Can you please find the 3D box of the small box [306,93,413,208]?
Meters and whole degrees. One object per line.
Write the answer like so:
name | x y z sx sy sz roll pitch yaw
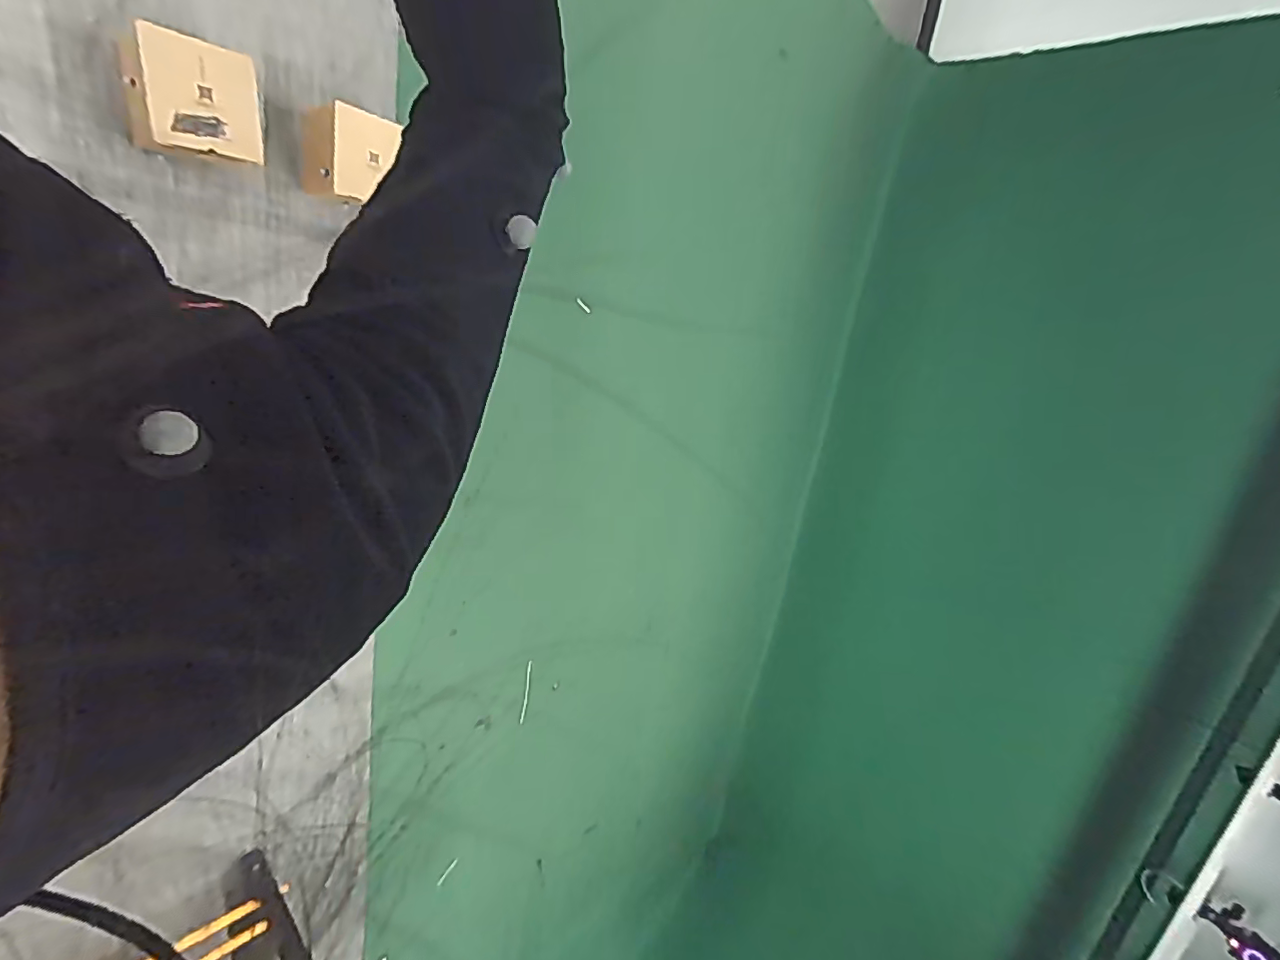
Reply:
small box | -0.634 -0.729 1.216 0.168 0.176 0.179 -9 115 -48

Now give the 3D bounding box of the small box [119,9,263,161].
small box | -0.821 -0.704 0.992 0.168 0.176 0.179 -15 118 -48
